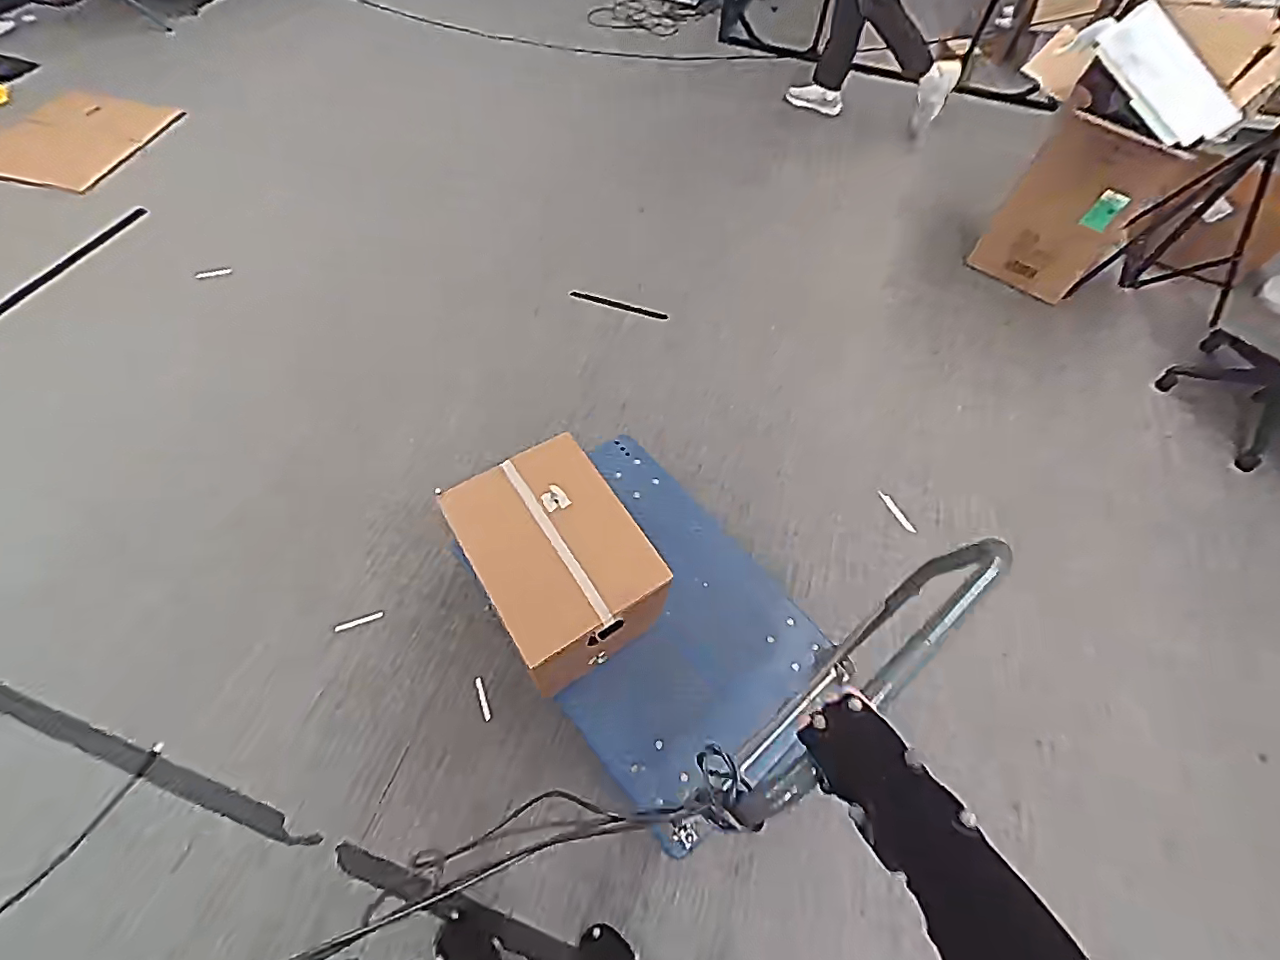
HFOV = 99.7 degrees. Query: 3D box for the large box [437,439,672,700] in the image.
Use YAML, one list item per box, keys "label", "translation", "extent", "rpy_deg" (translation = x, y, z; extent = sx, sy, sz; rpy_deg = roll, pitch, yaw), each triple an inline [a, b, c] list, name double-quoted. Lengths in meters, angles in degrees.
- label: "large box"
  translation: [-0.179, 0.196, 1.178]
  extent: [0.320, 0.320, 0.408]
  rpy_deg: [-28, 64, -20]
